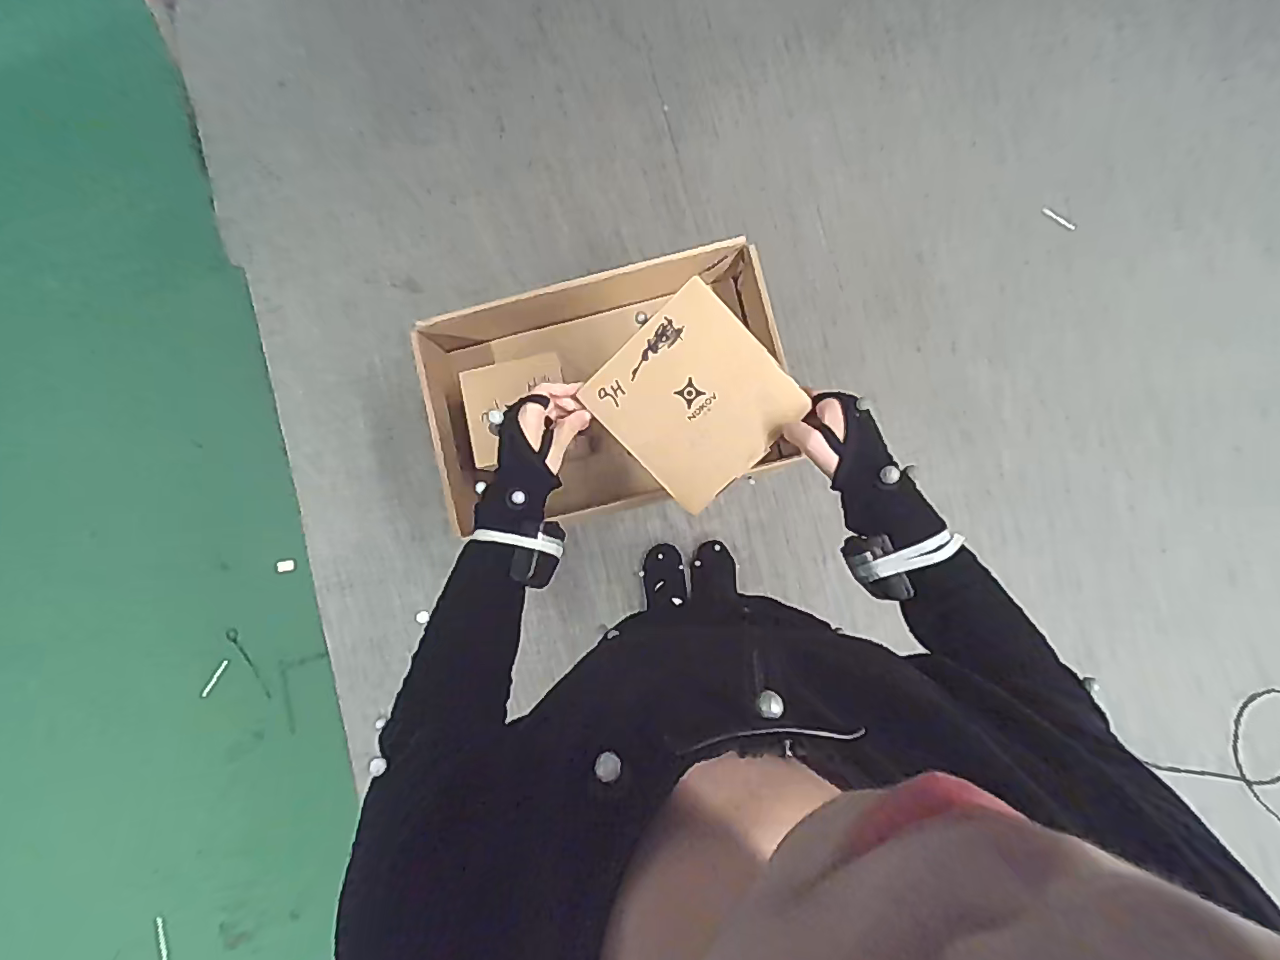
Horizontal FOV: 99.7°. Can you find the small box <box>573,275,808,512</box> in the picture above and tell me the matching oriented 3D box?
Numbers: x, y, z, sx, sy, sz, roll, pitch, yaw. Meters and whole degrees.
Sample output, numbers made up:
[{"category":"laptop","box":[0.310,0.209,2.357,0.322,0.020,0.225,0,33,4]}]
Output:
[{"category":"small box","box":[0.053,-0.096,0.609,0.168,0.176,0.179,-43,95,8]}]
